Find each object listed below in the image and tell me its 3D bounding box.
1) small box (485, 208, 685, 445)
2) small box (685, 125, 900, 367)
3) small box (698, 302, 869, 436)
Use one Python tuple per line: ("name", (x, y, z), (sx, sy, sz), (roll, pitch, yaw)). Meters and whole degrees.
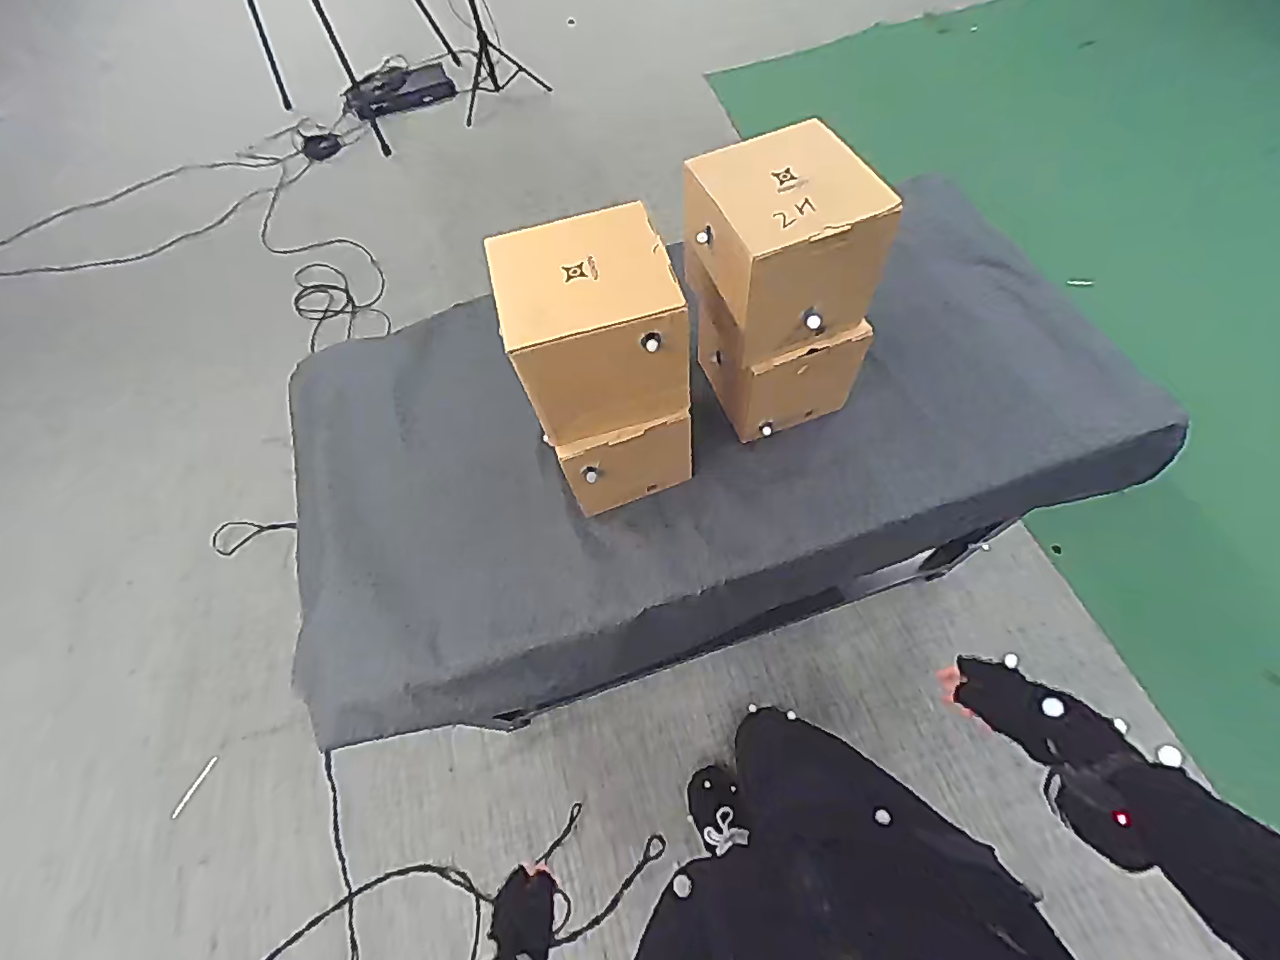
("small box", (-0.054, -0.161, 0.603), (0.179, 0.176, 0.168), (-15, 61, -3))
("small box", (0.159, -0.267, 0.634), (0.168, 0.176, 0.179), (-21, 63, -5))
("small box", (0.191, -0.183, 0.773), (0.168, 0.176, 0.179), (-20, 61, -4))
